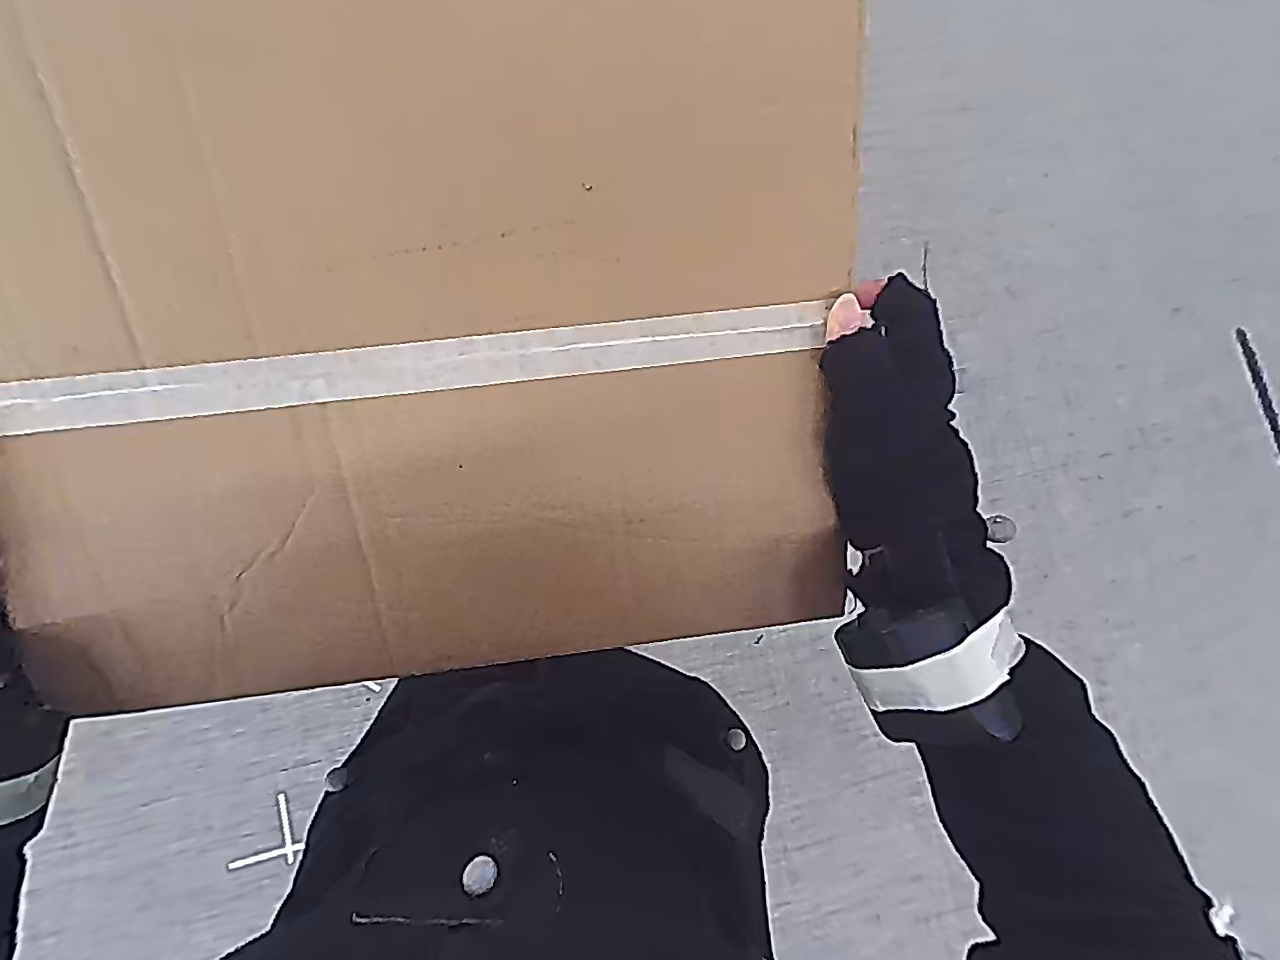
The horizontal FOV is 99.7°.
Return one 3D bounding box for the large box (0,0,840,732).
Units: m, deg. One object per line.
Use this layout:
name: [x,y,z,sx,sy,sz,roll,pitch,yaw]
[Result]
large box: [-0.116,-0.083,0.387,0.408,0.320,0.320,-7,108,-4]
